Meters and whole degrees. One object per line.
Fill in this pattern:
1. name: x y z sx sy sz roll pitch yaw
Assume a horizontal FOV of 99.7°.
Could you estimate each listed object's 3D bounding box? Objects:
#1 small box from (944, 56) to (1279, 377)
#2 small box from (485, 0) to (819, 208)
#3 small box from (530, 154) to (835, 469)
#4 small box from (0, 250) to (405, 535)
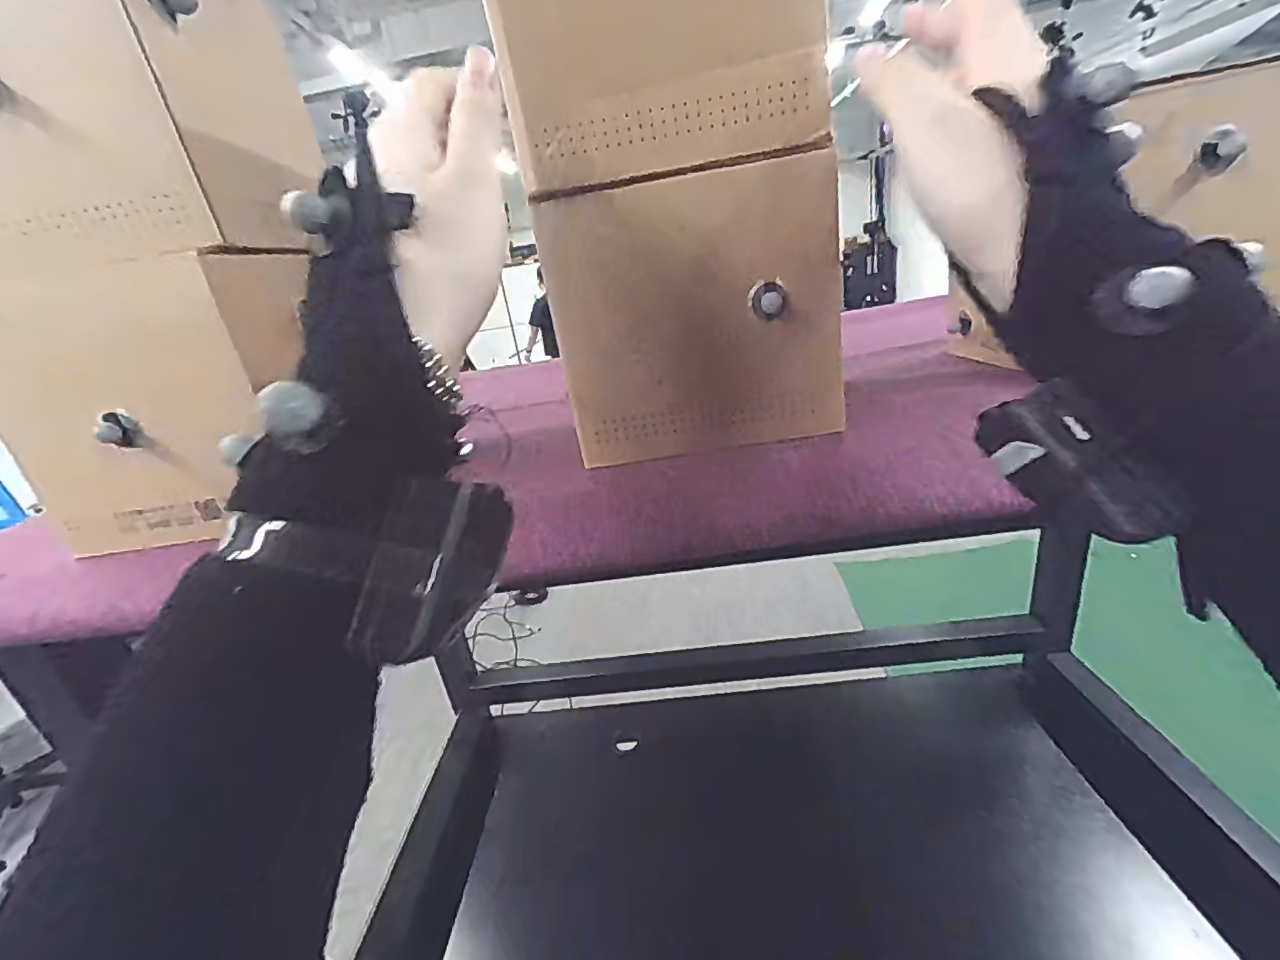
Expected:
1. small box: 0.354 -0.179 0.404 0.179 0.176 0.168 -7 19 6
2. small box: 0.003 -0.272 0.351 0.179 0.176 0.168 -9 20 2
3. small box: 0.036 -0.121 0.407 0.179 0.176 0.168 -9 21 4
4. small box: -0.303 -0.067 0.404 0.168 0.176 0.179 -8 22 2
